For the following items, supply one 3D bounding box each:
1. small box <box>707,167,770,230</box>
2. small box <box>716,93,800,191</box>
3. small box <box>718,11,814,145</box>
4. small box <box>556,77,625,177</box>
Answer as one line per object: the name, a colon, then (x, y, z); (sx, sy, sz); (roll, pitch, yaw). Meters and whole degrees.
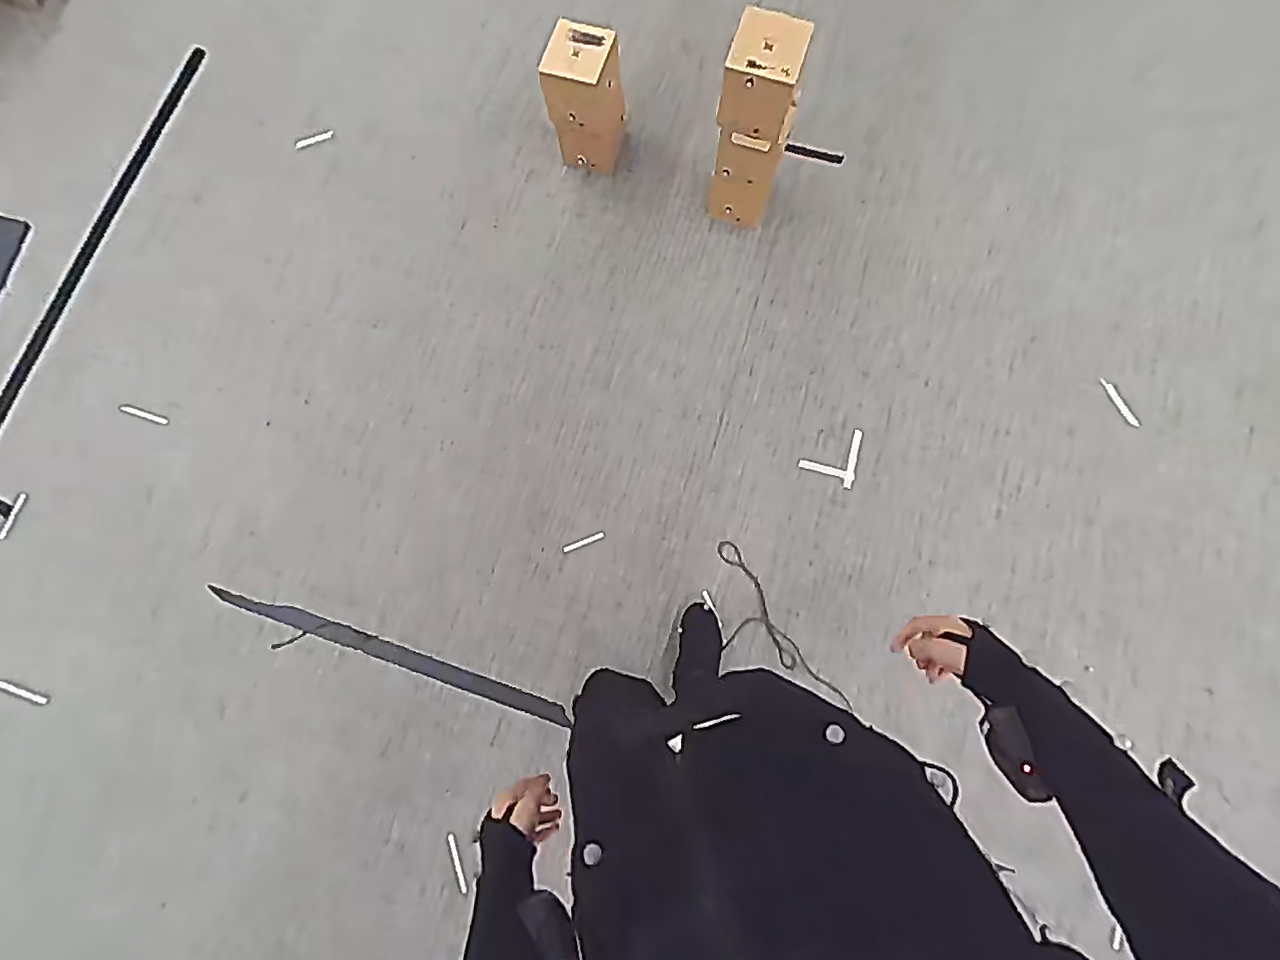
small box: (0.308, -0.894, 1.624); (0.168, 0.176, 0.179); (19, 81, 5)
small box: (0.312, -0.924, 1.462); (0.168, 0.176, 0.179); (19, 80, 4)
small box: (0.295, -0.961, 1.302); (0.168, 0.176, 0.179); (19, 79, 5)
small box: (-0.145, -1.085, 1.671); (0.168, 0.176, 0.179); (15, 79, 5)
